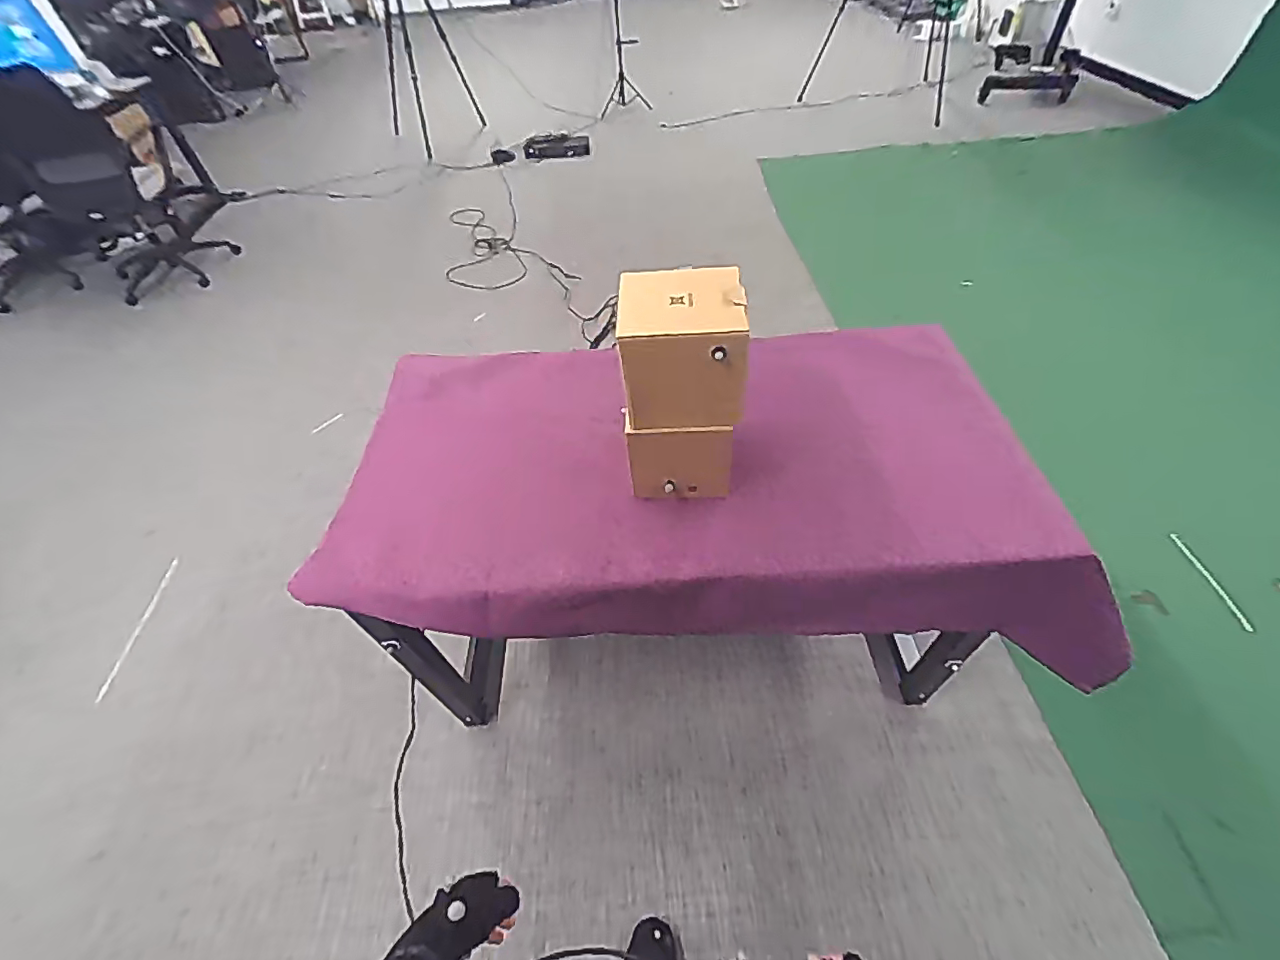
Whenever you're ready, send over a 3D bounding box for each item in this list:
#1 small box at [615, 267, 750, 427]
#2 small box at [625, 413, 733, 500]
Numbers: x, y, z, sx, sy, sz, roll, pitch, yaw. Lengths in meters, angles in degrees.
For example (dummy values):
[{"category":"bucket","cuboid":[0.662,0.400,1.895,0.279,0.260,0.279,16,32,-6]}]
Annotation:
[{"category":"small box","cuboid":[0.062,-0.191,0.799,0.179,0.176,0.168,-2,49,4]},{"category":"small box","cuboid":[0.067,-0.085,0.921,0.168,0.176,0.179,-1,50,5]}]
